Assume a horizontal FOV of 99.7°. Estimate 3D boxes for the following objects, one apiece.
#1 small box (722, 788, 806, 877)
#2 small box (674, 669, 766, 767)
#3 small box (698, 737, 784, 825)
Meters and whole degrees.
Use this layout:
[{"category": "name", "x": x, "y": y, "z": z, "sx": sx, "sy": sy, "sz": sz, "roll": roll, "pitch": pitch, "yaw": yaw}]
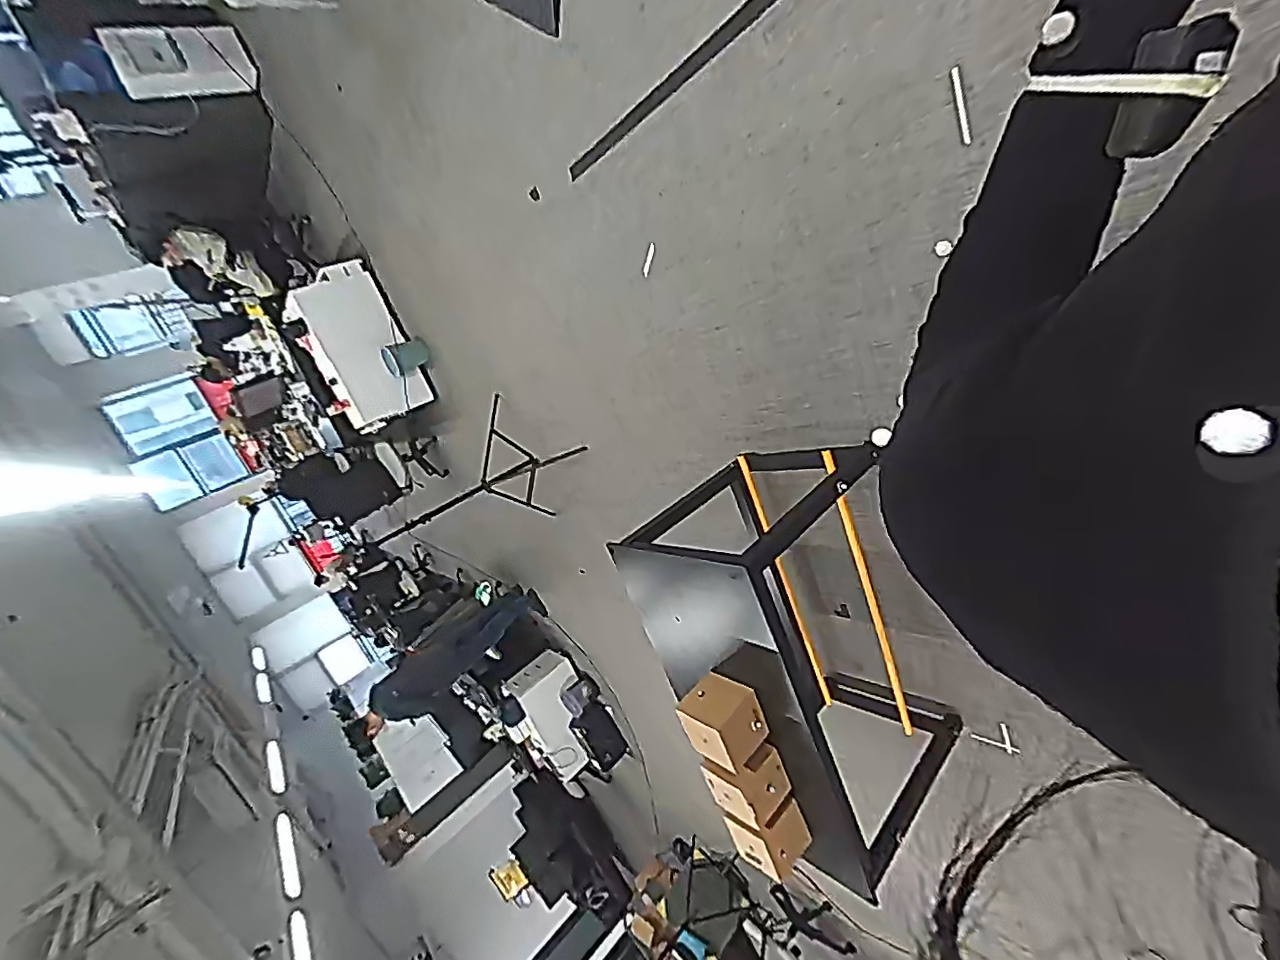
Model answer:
[{"category": "small box", "x": 0.393, "y": 1.073, "z": 1.694, "sx": 0.168, "sy": 0.176, "sz": 0.179, "roll": -3, "pitch": 114, "yaw": 54}, {"category": "small box", "x": 0.234, "y": 0.681, "z": 1.571, "sx": 0.179, "sy": 0.176, "sz": 0.168, "roll": 1, "pitch": 119, "yaw": 52}, {"category": "small box", "x": 0.314, "y": 0.882, "z": 1.636, "sx": 0.179, "sy": 0.176, "sz": 0.168, "roll": 0, "pitch": 118, "yaw": 52}]
